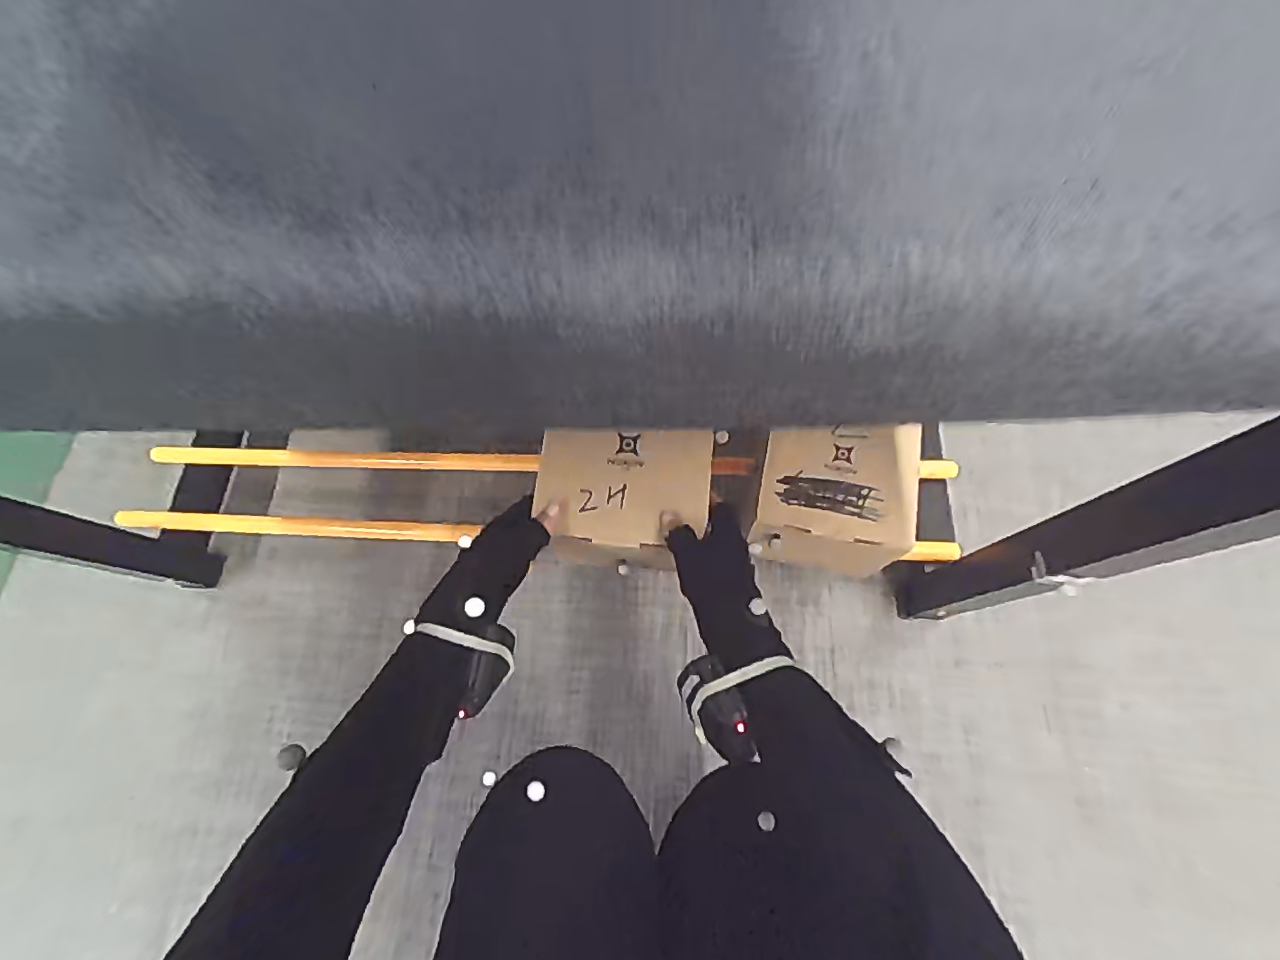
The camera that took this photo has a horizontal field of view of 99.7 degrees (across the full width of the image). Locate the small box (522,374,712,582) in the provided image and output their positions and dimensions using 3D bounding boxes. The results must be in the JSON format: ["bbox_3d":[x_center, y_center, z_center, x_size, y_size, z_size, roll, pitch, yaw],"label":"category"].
[{"bbox_3d":[-0.016,0.006,0.593,0.168,0.176,0.179,5,73,5],"label":"small box"}]
